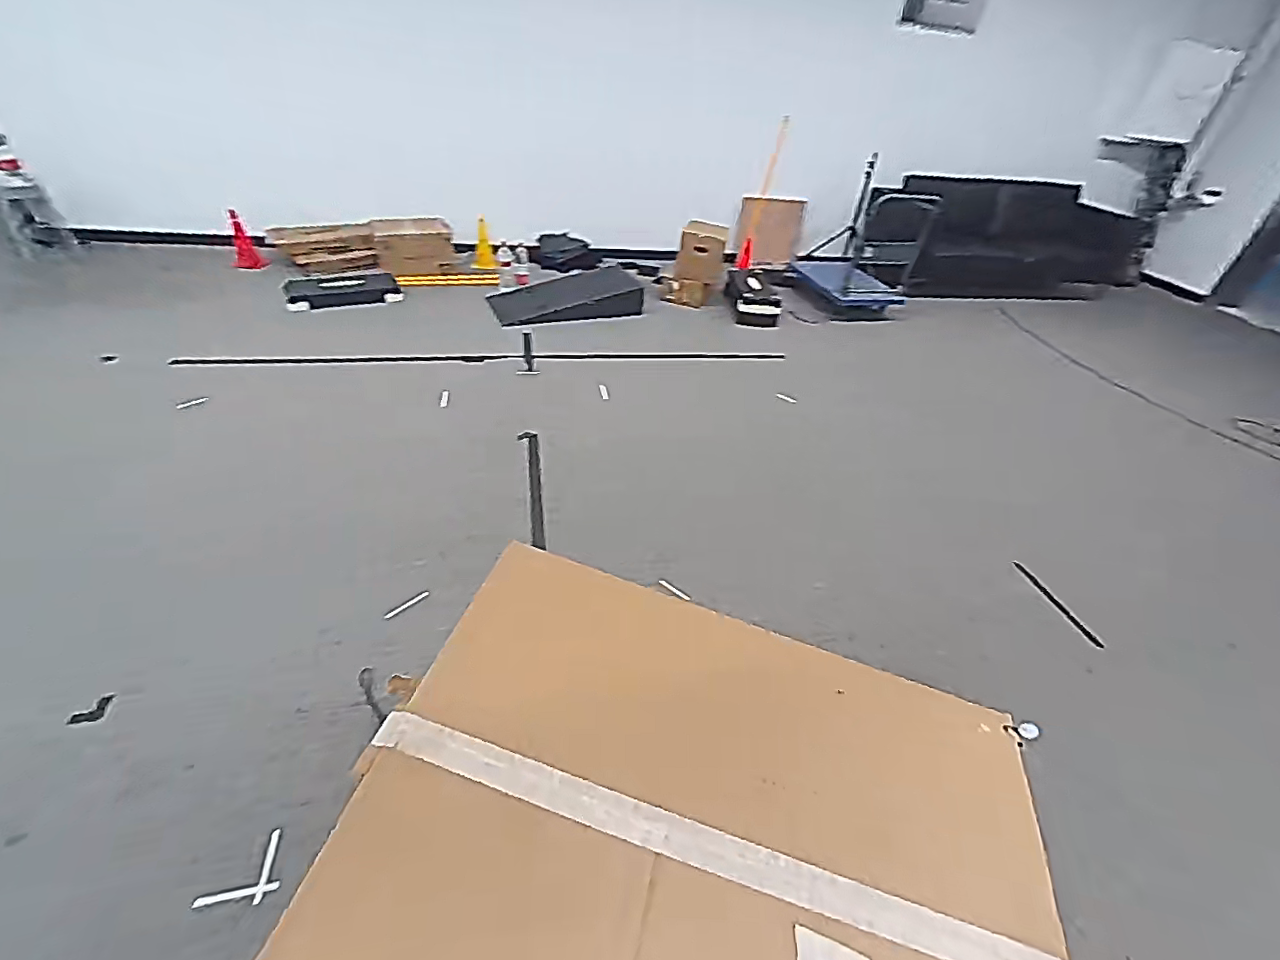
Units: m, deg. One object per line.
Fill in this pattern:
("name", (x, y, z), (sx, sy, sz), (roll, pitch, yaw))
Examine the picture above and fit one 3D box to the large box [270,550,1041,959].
("large box", (0.011, 0.317, 0.422), (0.408, 0.320, 0.320), (19, 45, 3))
